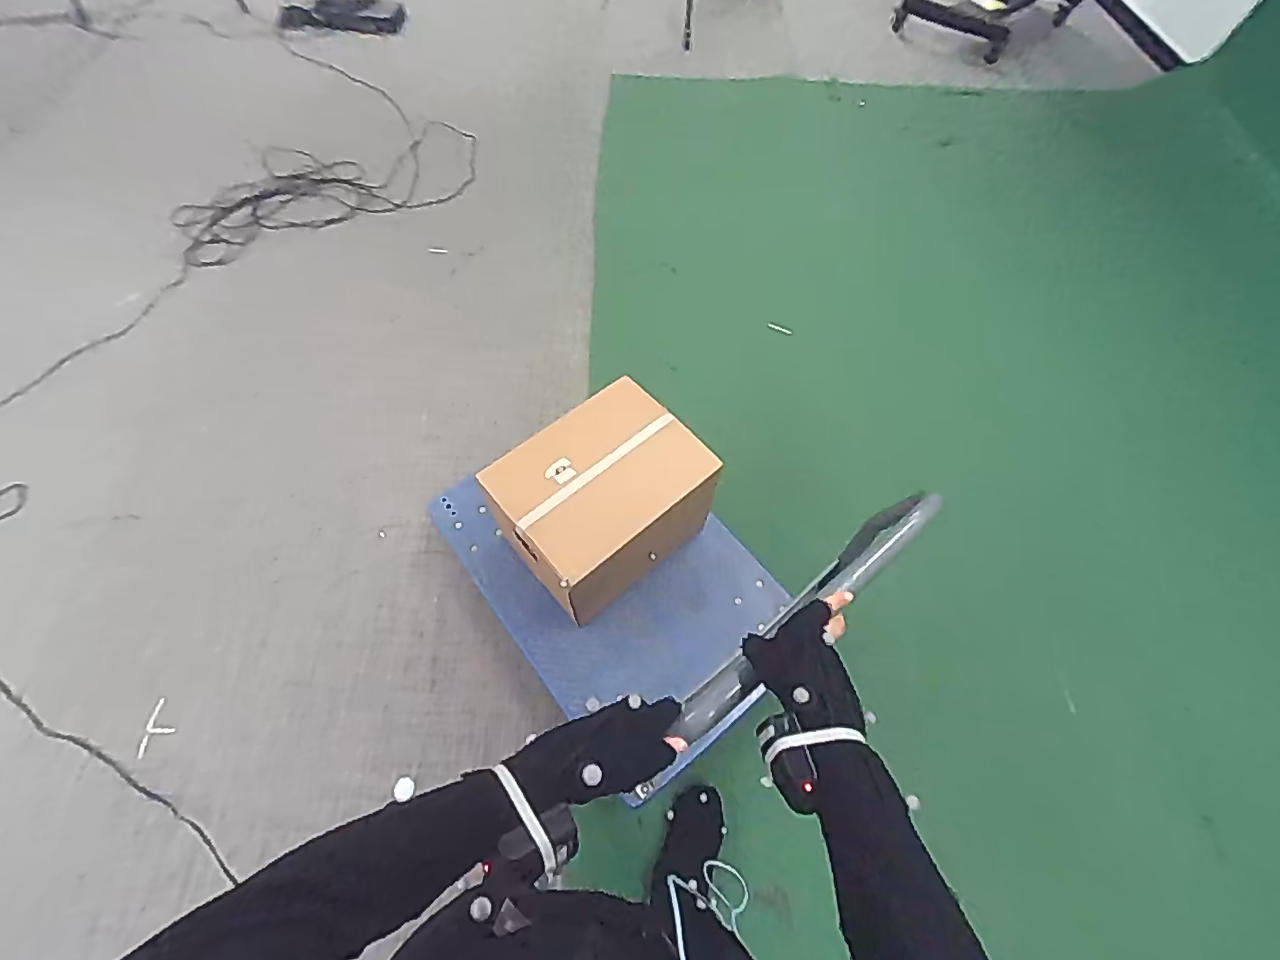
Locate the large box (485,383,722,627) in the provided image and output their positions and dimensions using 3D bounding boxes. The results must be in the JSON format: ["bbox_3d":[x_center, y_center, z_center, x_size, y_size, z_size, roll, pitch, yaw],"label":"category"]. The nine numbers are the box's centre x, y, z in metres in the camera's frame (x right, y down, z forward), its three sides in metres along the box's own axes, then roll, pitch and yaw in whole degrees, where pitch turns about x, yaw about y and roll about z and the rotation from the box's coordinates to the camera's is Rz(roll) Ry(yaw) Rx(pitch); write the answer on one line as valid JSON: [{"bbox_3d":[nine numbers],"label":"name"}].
[{"bbox_3d":[-0.074,0.062,1.241,0.408,0.320,0.320,-37,68,-20],"label":"large box"}]
